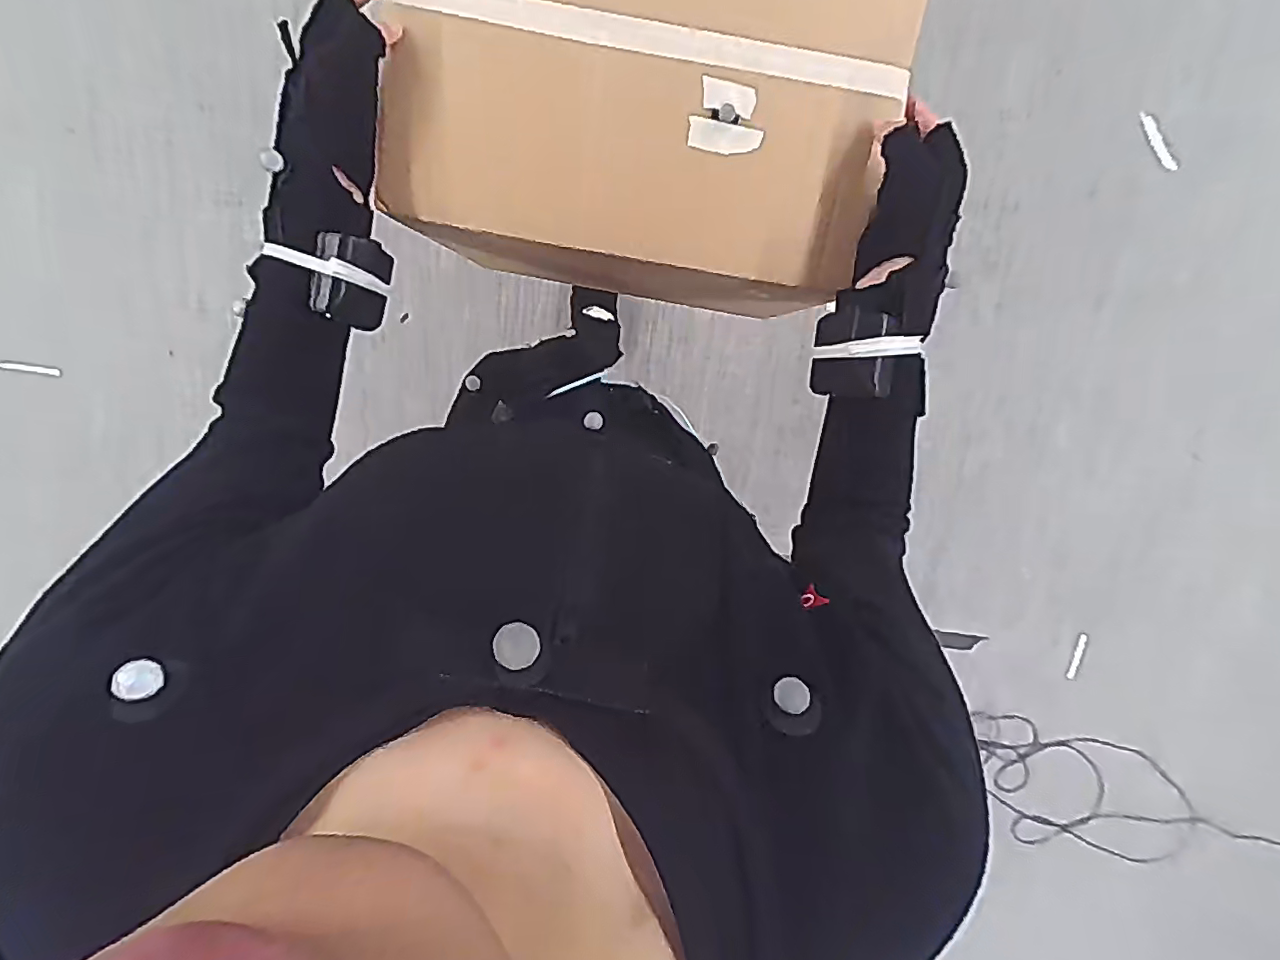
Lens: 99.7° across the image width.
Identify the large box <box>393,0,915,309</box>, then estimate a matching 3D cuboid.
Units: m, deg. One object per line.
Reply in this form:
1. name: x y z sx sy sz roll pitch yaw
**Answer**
1. large box: 0.006 -0.380 0.573 0.408 0.320 0.320 9 104 -4
